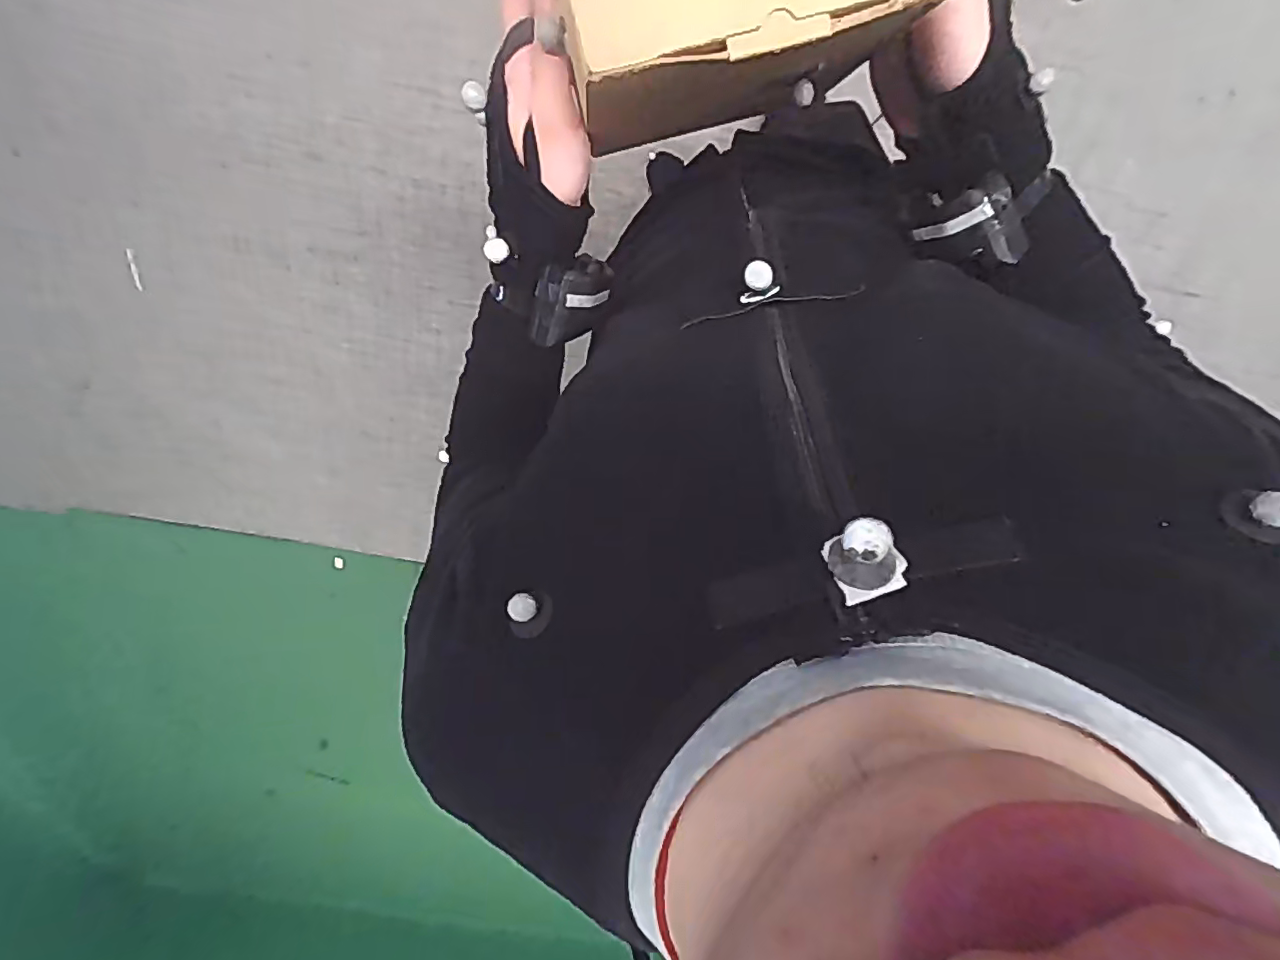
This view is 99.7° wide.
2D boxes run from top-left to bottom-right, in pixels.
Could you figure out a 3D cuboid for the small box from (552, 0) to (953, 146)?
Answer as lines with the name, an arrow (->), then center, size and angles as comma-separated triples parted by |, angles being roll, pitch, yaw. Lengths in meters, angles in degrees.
small box -> 0.033, -0.290, 0.271 | 0.168, 0.176, 0.179 | -14, 111, 0
